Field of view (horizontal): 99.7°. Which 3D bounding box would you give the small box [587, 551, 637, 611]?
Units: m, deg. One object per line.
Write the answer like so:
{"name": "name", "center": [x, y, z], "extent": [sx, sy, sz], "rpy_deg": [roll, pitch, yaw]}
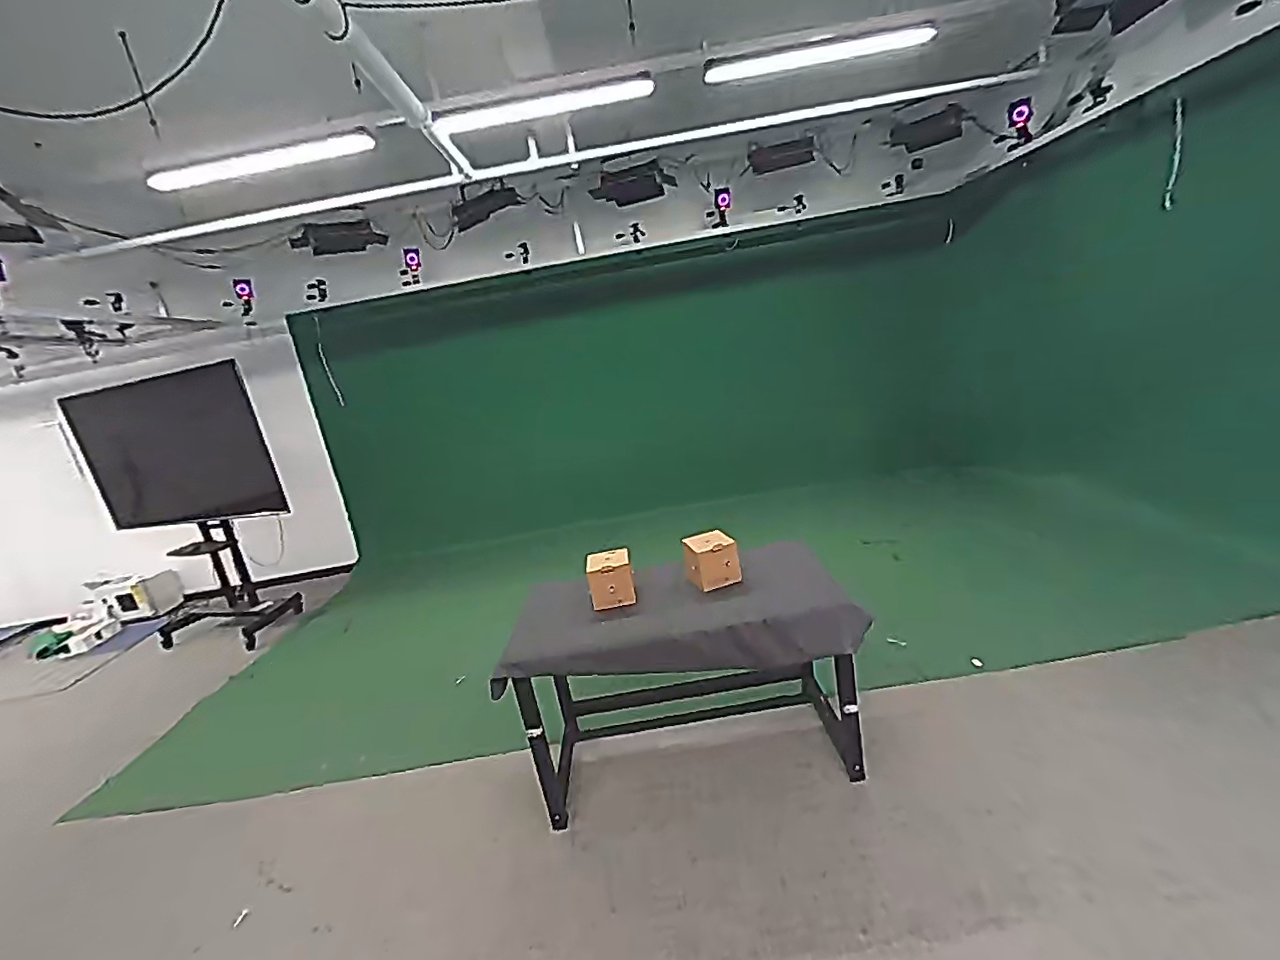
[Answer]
{"name": "small box", "center": [-0.113, 0.407, 2.152], "extent": [0.168, 0.176, 0.179], "rpy_deg": [-12, 13, -3]}

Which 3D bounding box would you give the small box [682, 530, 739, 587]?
{"name": "small box", "center": [0.281, 0.315, 2.151], "extent": [0.168, 0.176, 0.179], "rpy_deg": [-11, 13, -13]}
